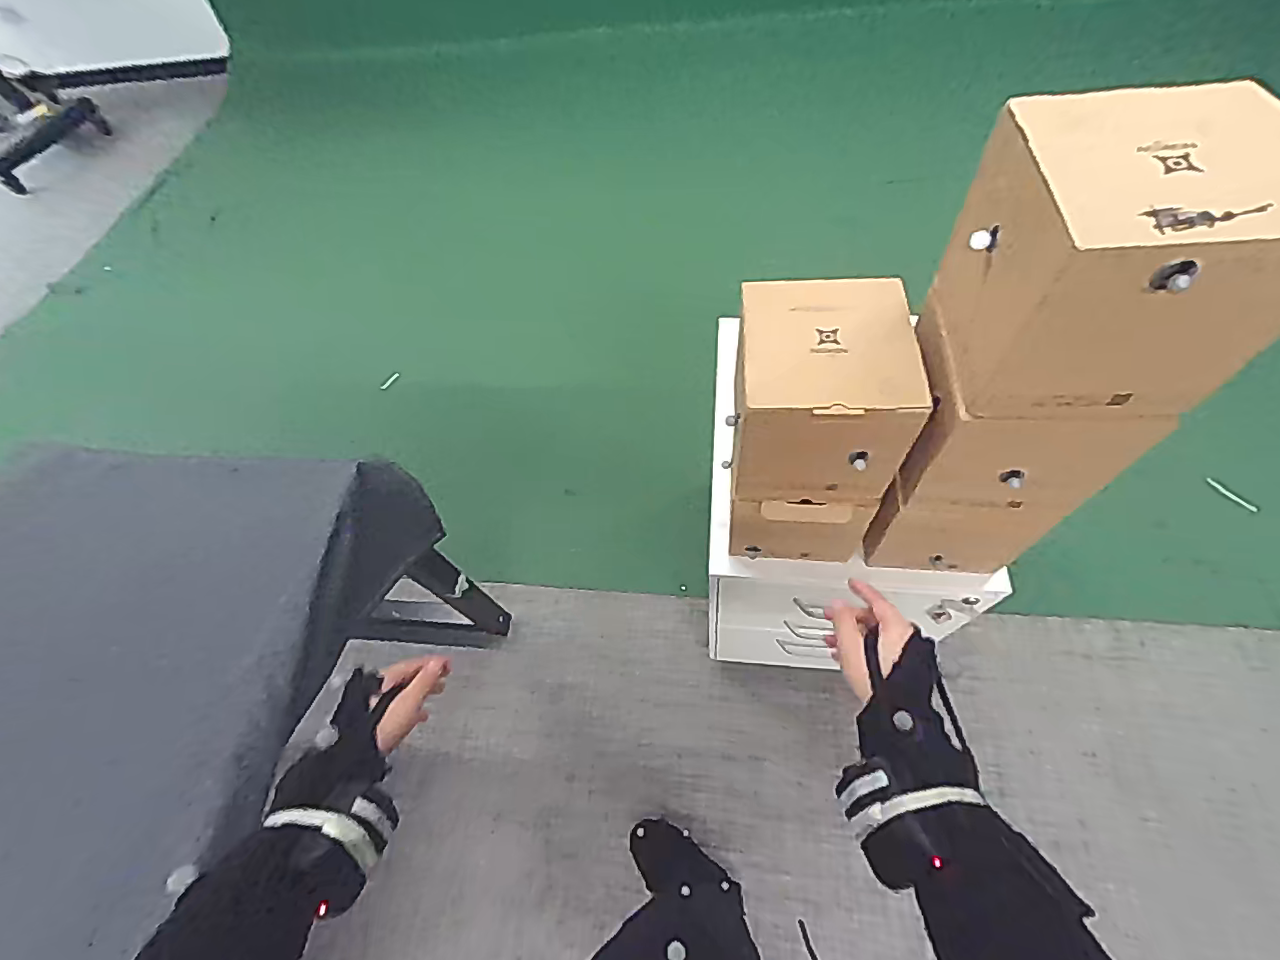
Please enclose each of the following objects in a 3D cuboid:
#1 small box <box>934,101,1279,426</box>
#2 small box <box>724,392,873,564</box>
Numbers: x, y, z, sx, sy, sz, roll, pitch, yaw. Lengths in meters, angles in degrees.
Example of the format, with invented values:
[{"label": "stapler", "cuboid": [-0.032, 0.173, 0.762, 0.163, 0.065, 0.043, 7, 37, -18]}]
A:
[{"label": "small box", "cuboid": [0.358, -0.163, 0.429, 0.168, 0.176, 0.179, 1, 58, 8]}, {"label": "small box", "cuboid": [0.203, 0.002, 0.734, 0.168, 0.176, 0.179, 3, 59, 7]}]
